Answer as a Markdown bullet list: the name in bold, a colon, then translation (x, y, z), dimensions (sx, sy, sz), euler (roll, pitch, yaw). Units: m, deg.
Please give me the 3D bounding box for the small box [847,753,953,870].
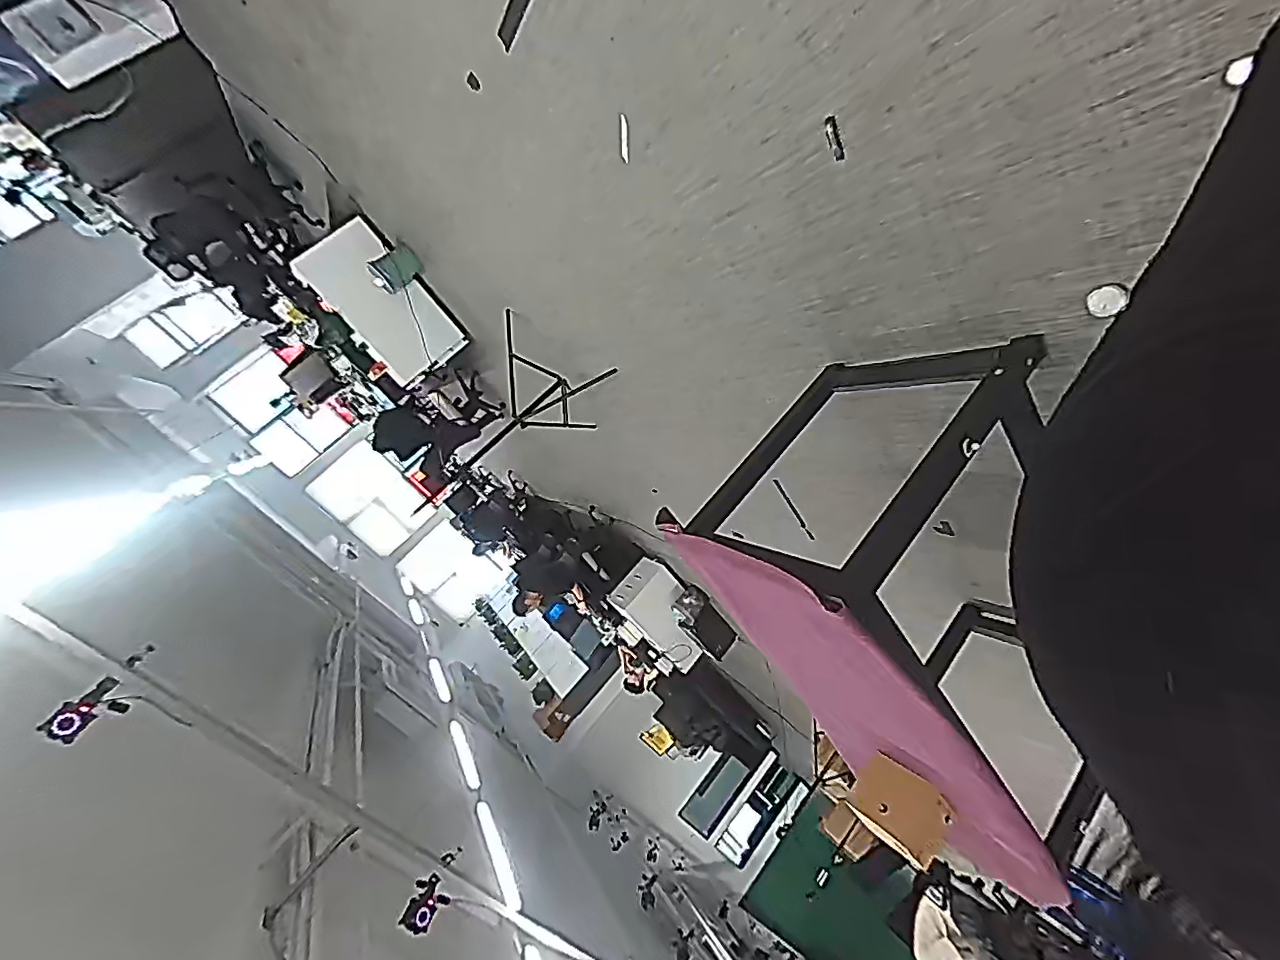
- **small box**: translation (0.696, 0.869, 1.435), dimensions (0.168, 0.176, 0.179), euler (51, 162, -22)
